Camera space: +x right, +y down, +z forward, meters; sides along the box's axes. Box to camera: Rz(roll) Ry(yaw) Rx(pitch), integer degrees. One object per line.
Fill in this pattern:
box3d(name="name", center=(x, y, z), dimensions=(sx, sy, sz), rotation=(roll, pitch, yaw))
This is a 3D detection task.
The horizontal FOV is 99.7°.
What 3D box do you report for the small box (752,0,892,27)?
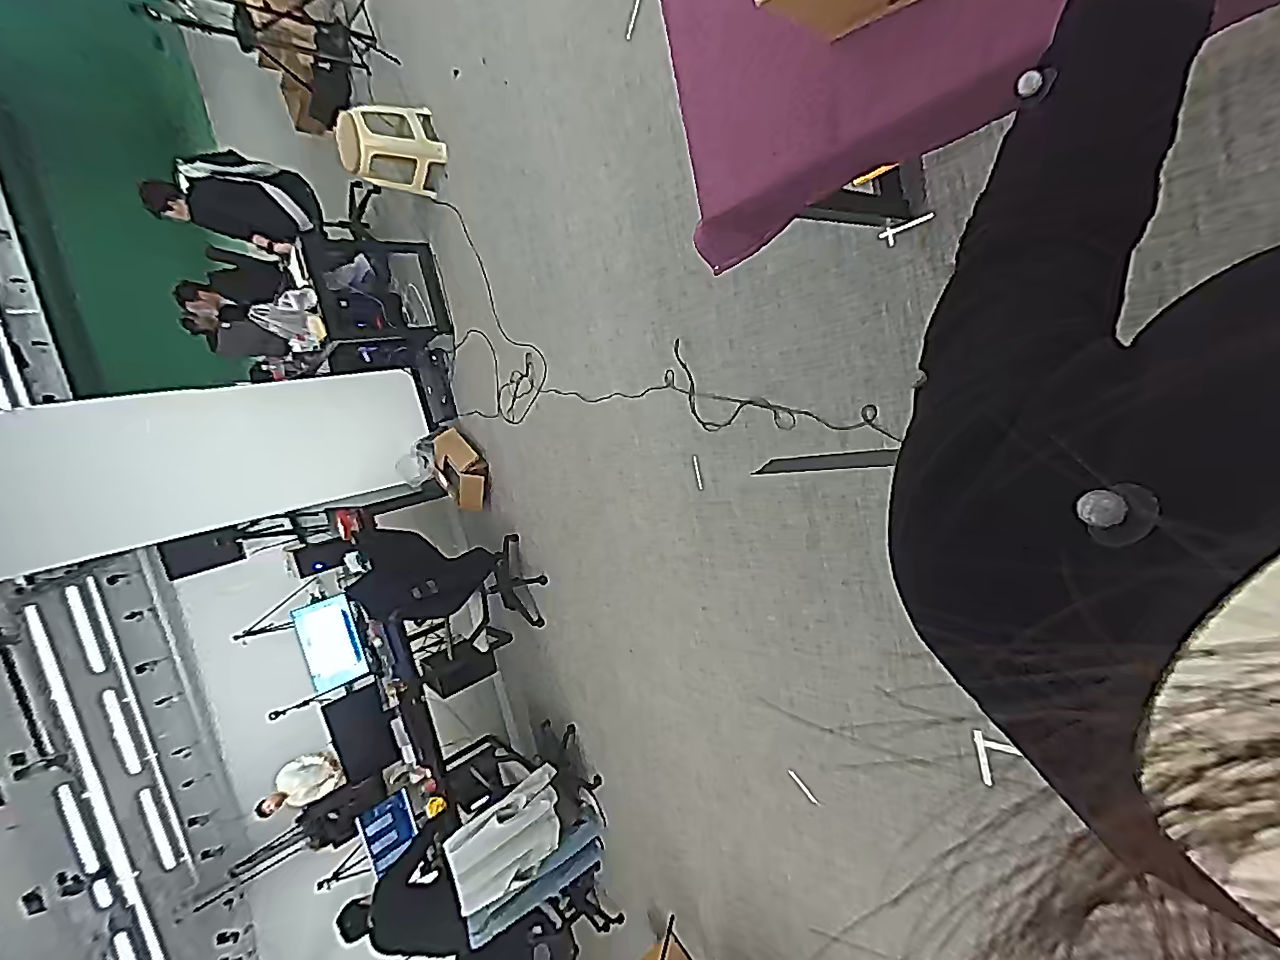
box3d(name="small box", center=(0.237, -0.652, 0.606), dimensions=(0.168, 0.176, 0.179), rotation=(12, 113, 46))
